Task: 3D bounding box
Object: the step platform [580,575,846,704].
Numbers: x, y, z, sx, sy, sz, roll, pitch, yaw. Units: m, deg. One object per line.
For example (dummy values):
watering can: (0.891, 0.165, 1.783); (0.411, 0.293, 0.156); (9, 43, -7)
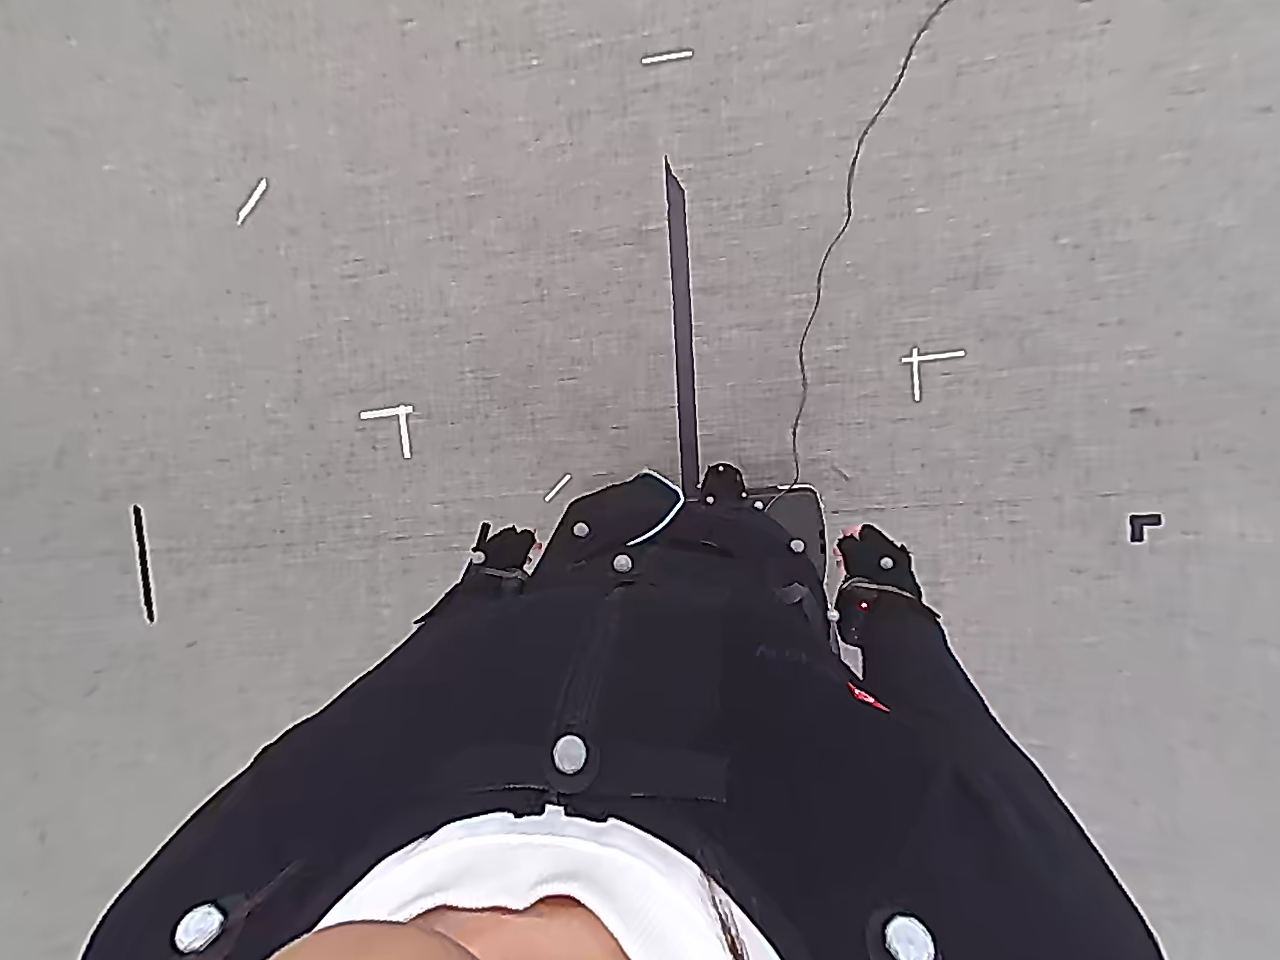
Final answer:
step platform: (0.184, 0.426, 1.440); (0.684, 0.204, 0.286); (-5, 92, 10)
